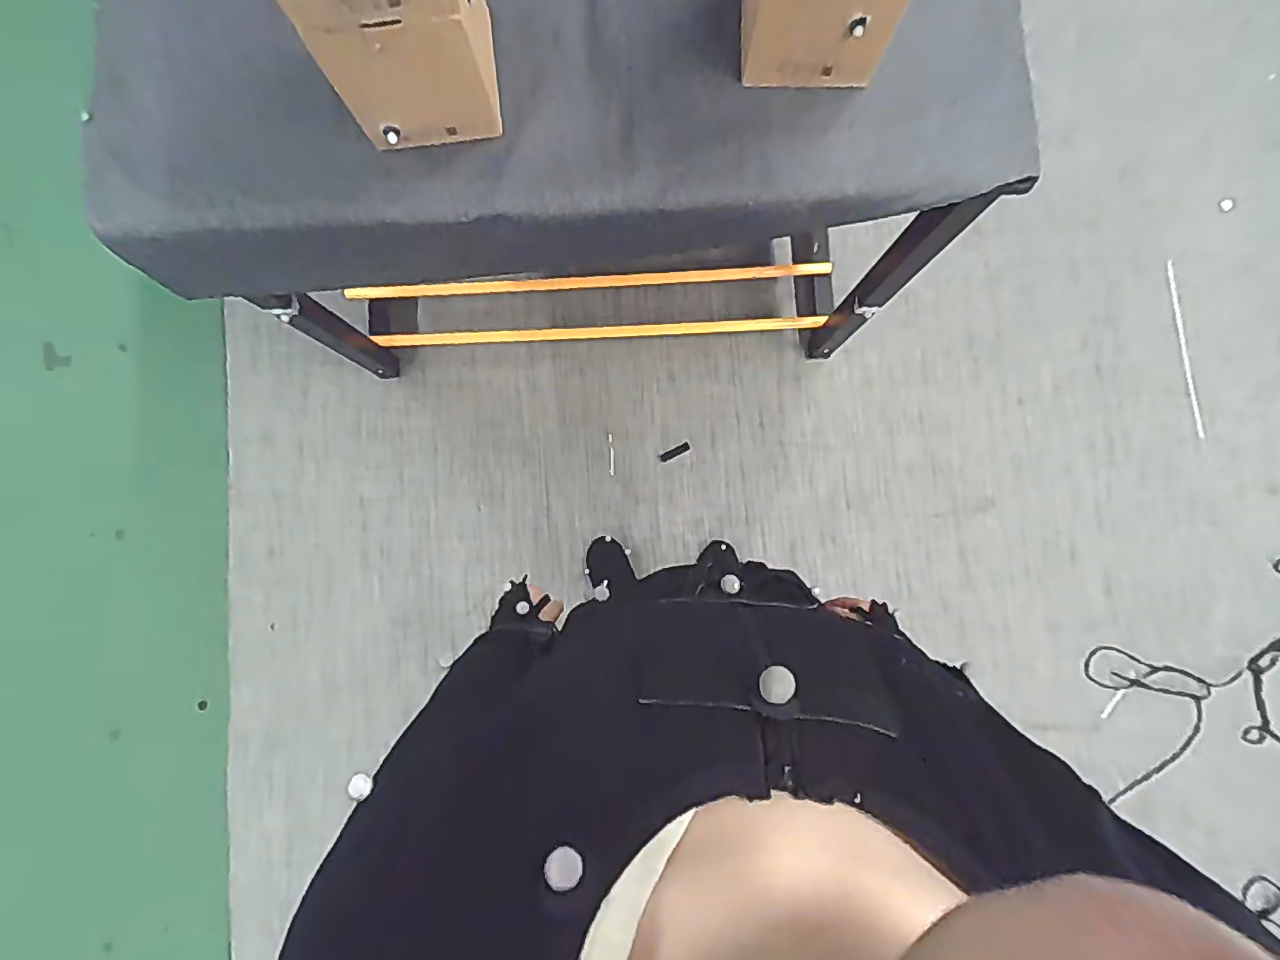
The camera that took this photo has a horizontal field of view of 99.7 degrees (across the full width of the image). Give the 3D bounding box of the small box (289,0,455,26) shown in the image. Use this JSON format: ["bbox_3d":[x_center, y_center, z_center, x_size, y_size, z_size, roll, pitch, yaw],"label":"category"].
[{"bbox_3d":[-0.270,-0.547,0.460,0.168,0.176,0.179,-9,85,0],"label":"small box"}]

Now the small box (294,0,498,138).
[{"bbox_3d":[-0.270,-0.529,0.624,0.168,0.176,0.179,-7,83,-1],"label":"small box"}]

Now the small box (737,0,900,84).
[{"bbox_3d":[0.212,-0.605,0.631,0.168,0.176,0.179,1,84,-1],"label":"small box"}]
